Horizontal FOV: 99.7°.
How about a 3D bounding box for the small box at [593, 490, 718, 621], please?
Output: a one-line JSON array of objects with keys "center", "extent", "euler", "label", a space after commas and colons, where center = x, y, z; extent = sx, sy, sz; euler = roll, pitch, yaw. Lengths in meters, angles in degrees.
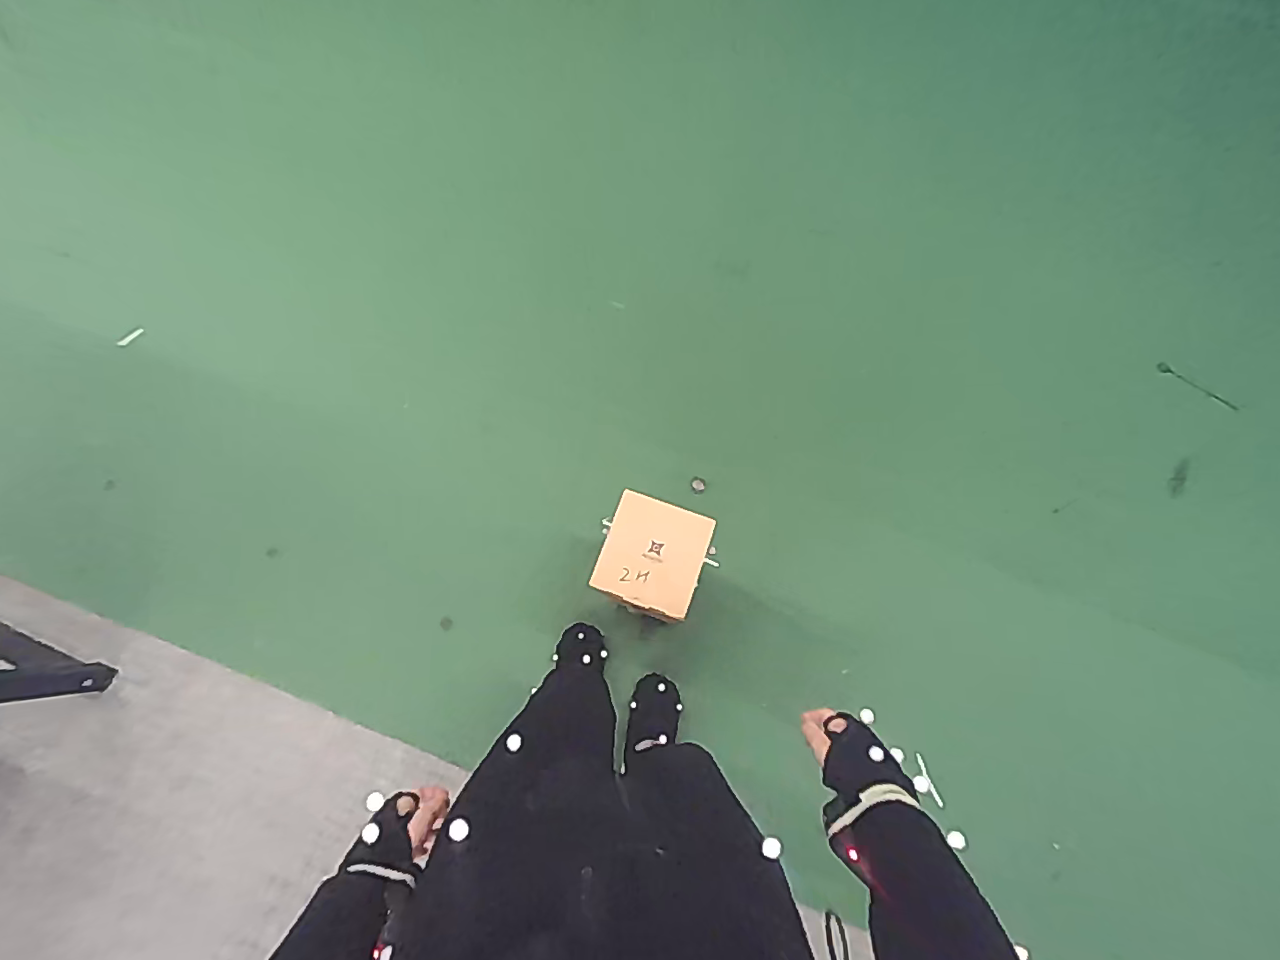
[{"center": [0.027, 0.141, 0.969], "extent": [0.168, 0.176, 0.179], "euler": [18, 76, 6], "label": "small box"}]
